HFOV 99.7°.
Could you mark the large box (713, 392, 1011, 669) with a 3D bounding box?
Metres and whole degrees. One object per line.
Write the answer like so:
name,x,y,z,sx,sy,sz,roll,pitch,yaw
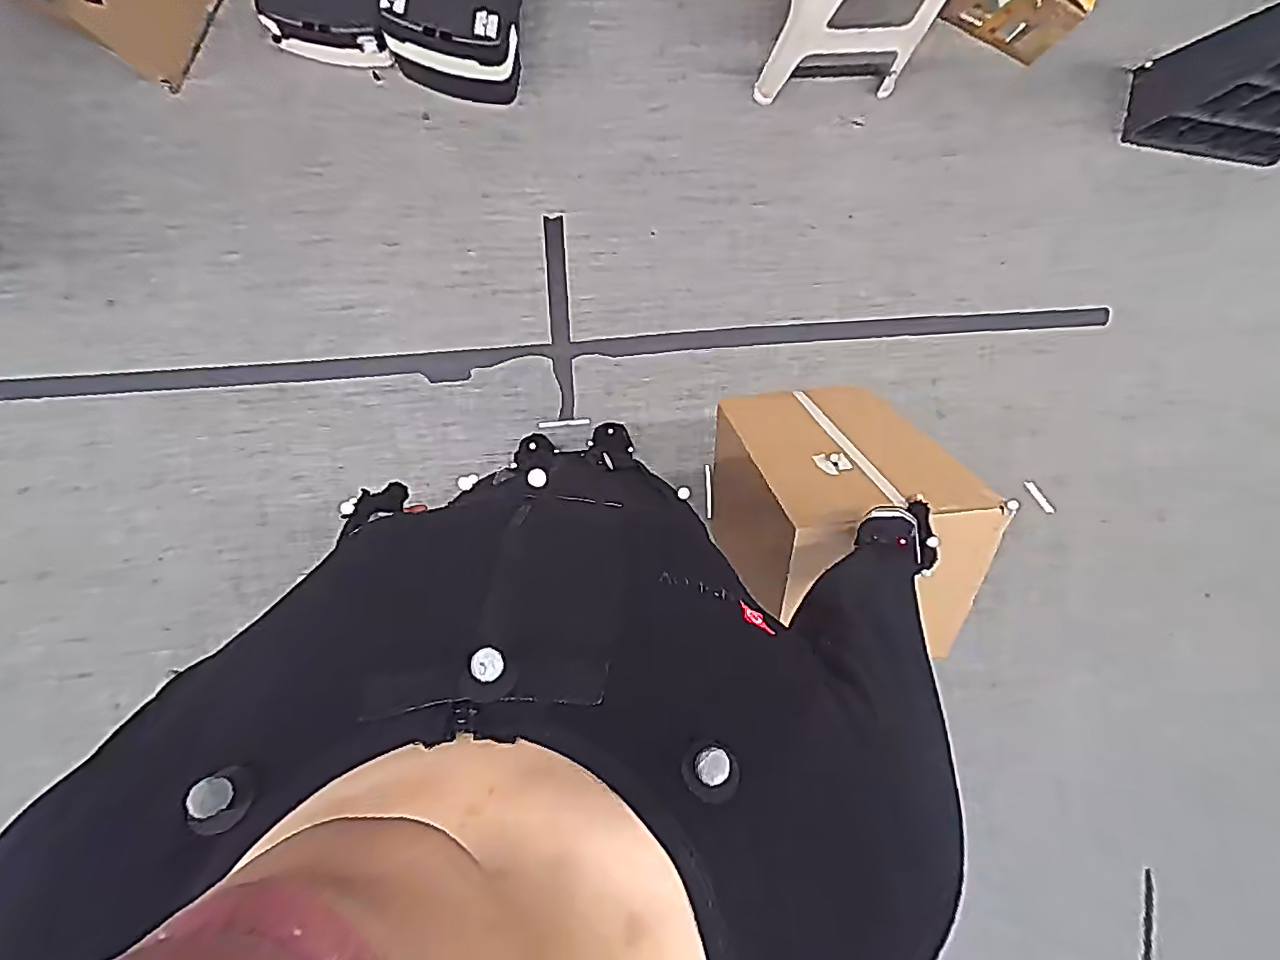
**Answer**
large box,0.340,0.069,0.980,0.320,0.408,0.320,-5,125,-6
